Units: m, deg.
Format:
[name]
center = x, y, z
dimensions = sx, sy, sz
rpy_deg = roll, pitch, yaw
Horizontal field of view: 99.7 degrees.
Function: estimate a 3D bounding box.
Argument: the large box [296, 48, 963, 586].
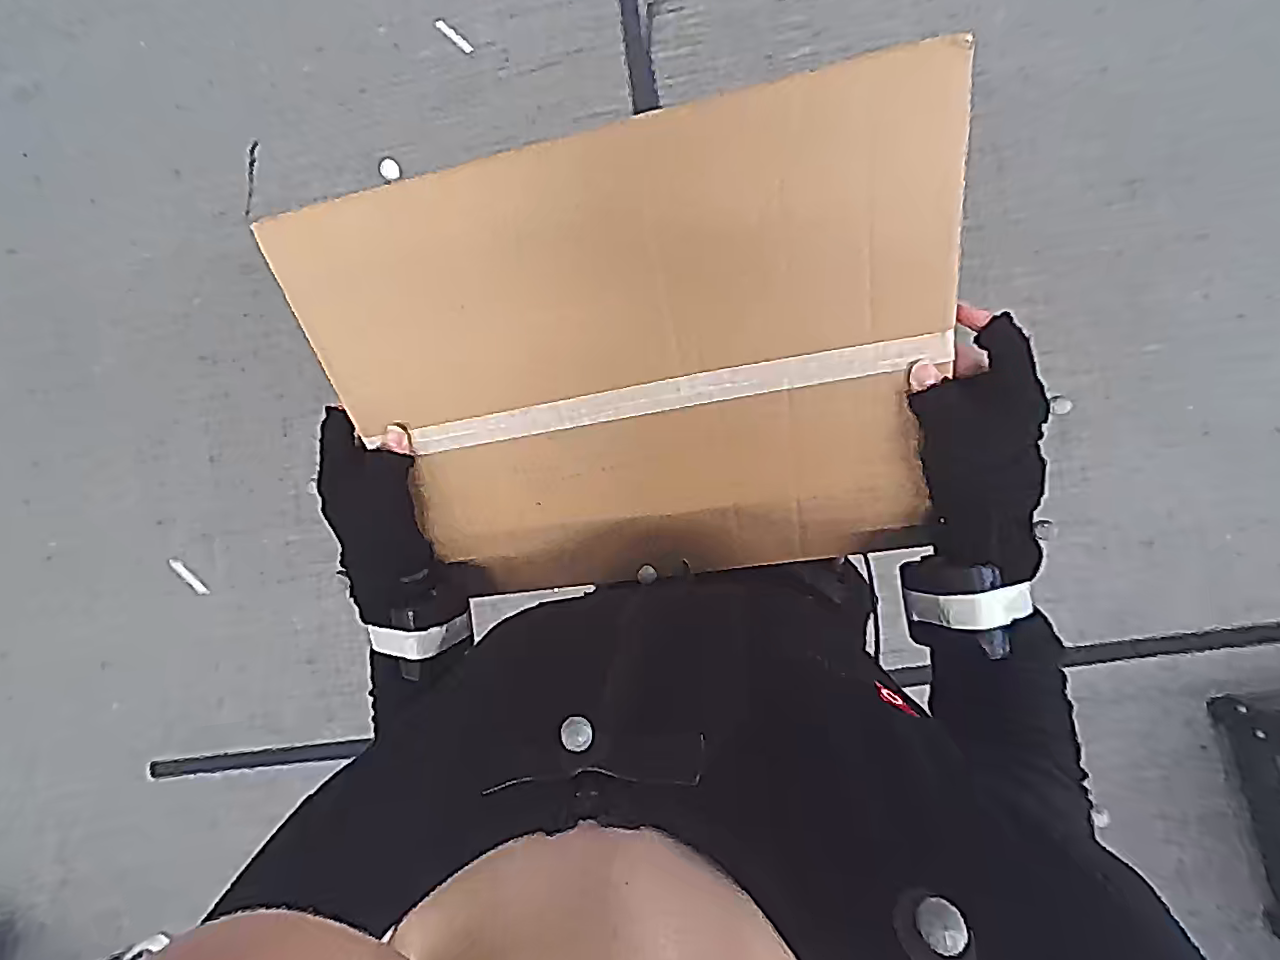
[large box]
center = 0.013, -0.135, 0.506
dimensions = 0.408, 0.320, 0.320
rpy_deg = -7, 121, 11
